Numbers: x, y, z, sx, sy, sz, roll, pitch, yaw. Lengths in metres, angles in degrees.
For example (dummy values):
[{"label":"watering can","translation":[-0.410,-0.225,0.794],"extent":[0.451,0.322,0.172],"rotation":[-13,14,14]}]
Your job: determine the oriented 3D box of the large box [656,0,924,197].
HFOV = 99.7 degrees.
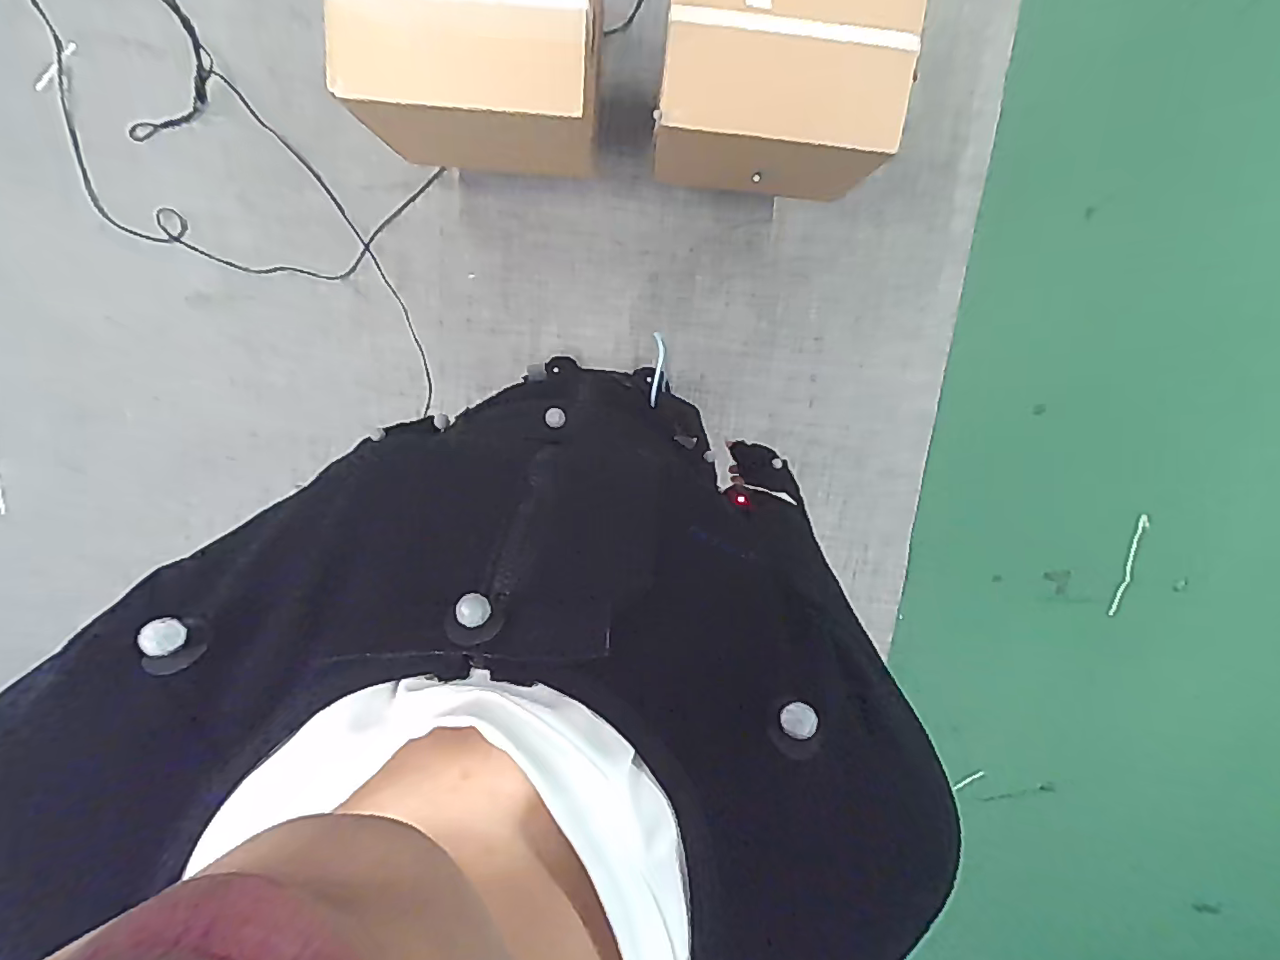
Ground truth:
[{"label":"large box","translation":[0.251,-0.754,1.019],"extent":[0.408,0.320,0.320],"rotation":[6,103,-2]}]
